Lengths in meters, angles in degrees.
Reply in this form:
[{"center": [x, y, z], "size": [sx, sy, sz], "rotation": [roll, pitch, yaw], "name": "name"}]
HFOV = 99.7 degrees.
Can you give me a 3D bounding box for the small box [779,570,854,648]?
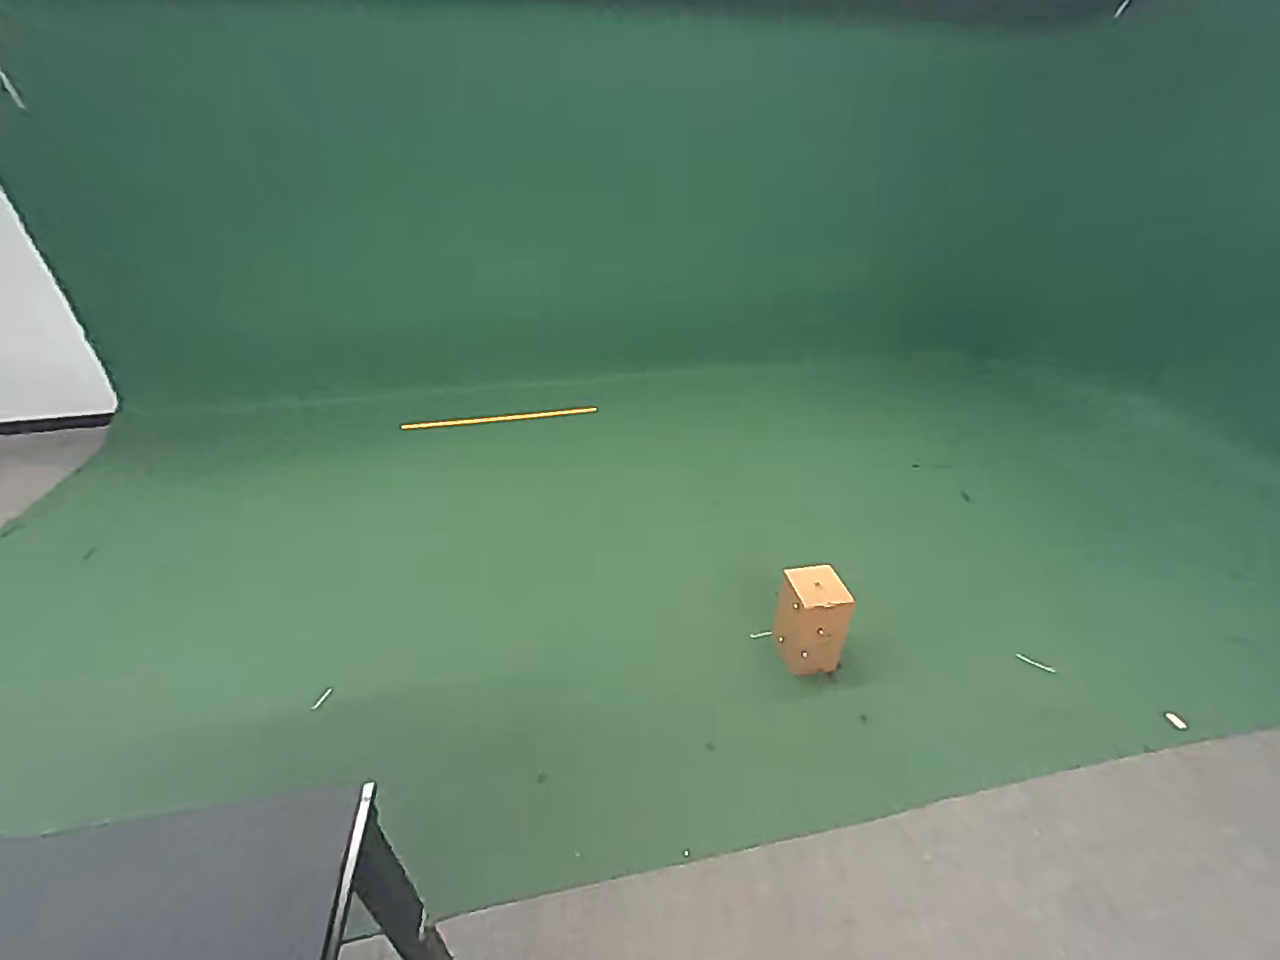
[{"center": [0.564, 0.418, 1.755], "size": [0.168, 0.176, 0.179], "rotation": [-5, 32, -8], "name": "small box"}]
